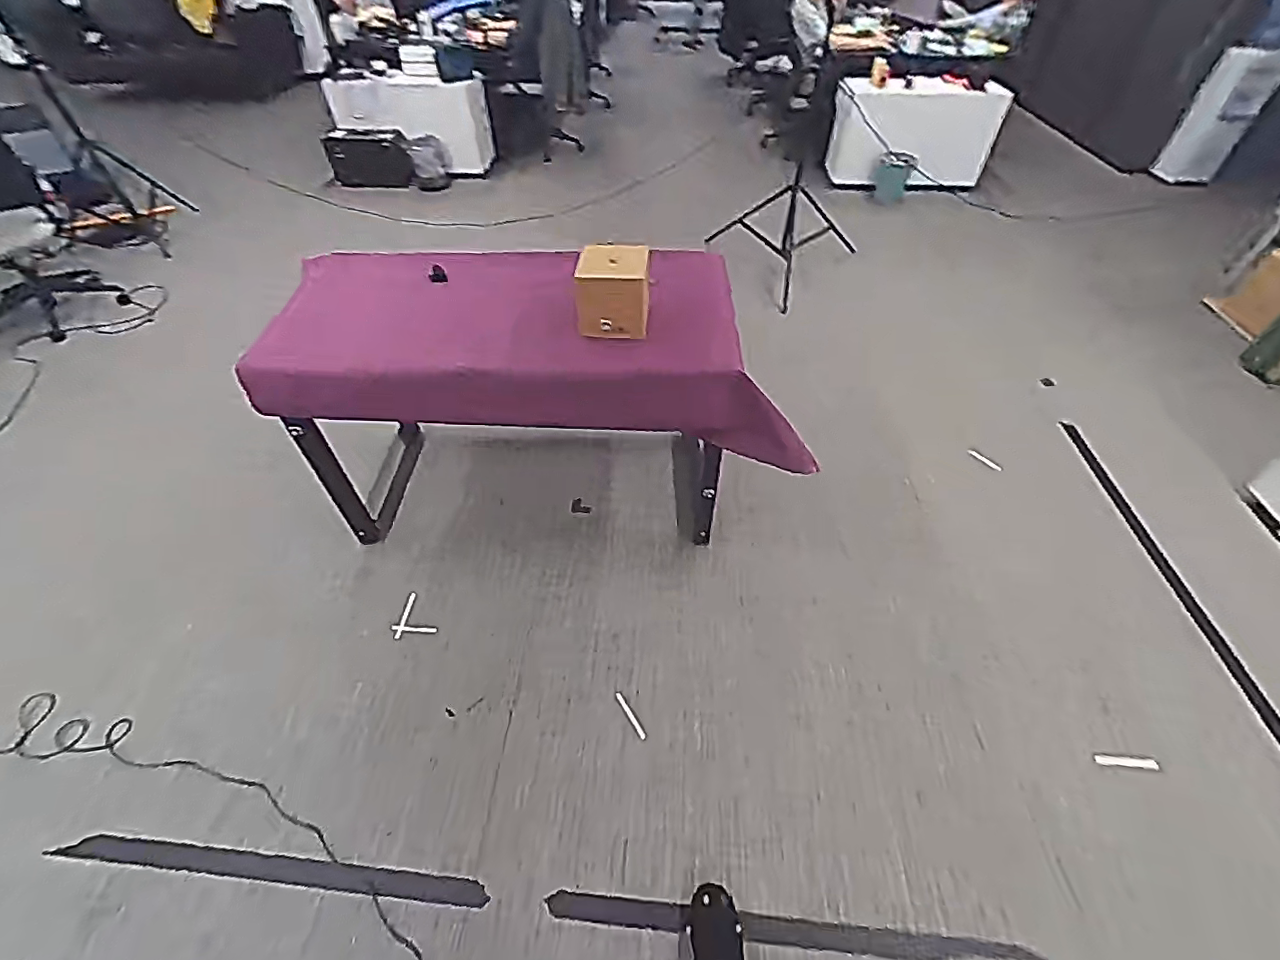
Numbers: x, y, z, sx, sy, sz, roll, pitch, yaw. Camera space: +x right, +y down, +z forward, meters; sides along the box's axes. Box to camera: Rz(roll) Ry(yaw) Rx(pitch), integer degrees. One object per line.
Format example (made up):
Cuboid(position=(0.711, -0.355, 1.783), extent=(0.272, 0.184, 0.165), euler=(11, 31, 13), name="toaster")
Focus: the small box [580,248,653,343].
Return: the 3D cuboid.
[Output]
Cuboid(position=(-0.053, -0.471, 1.381), extent=(0.168, 0.176, 0.179), euler=(2, 48, 4), name="small box")
